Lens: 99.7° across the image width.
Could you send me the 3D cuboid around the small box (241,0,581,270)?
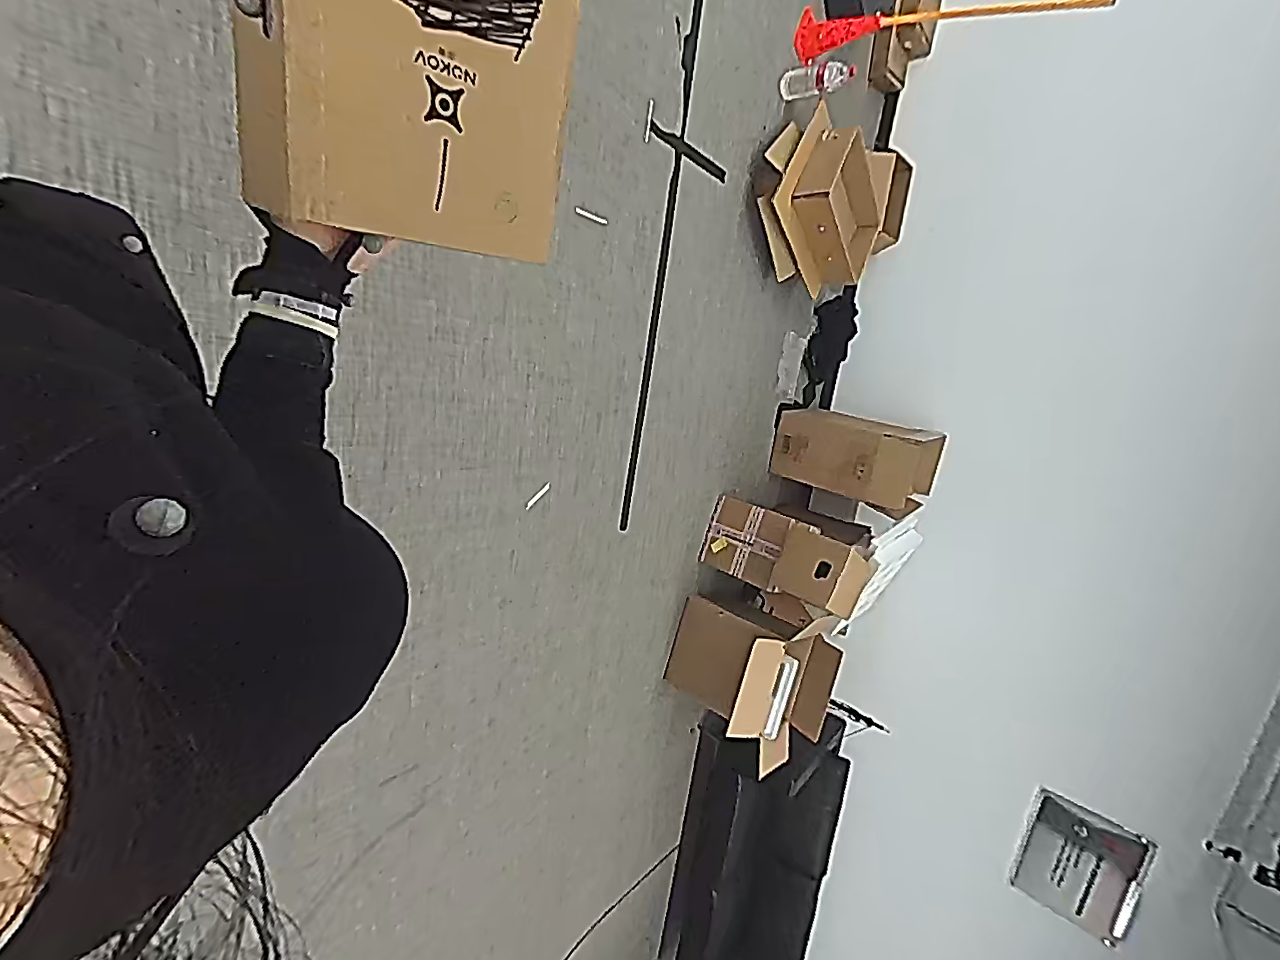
[{"bbox_3d":[-0.166,-0.262,0.380,0.168,0.176,0.179,-8,119,-42],"label":"small box"}]
